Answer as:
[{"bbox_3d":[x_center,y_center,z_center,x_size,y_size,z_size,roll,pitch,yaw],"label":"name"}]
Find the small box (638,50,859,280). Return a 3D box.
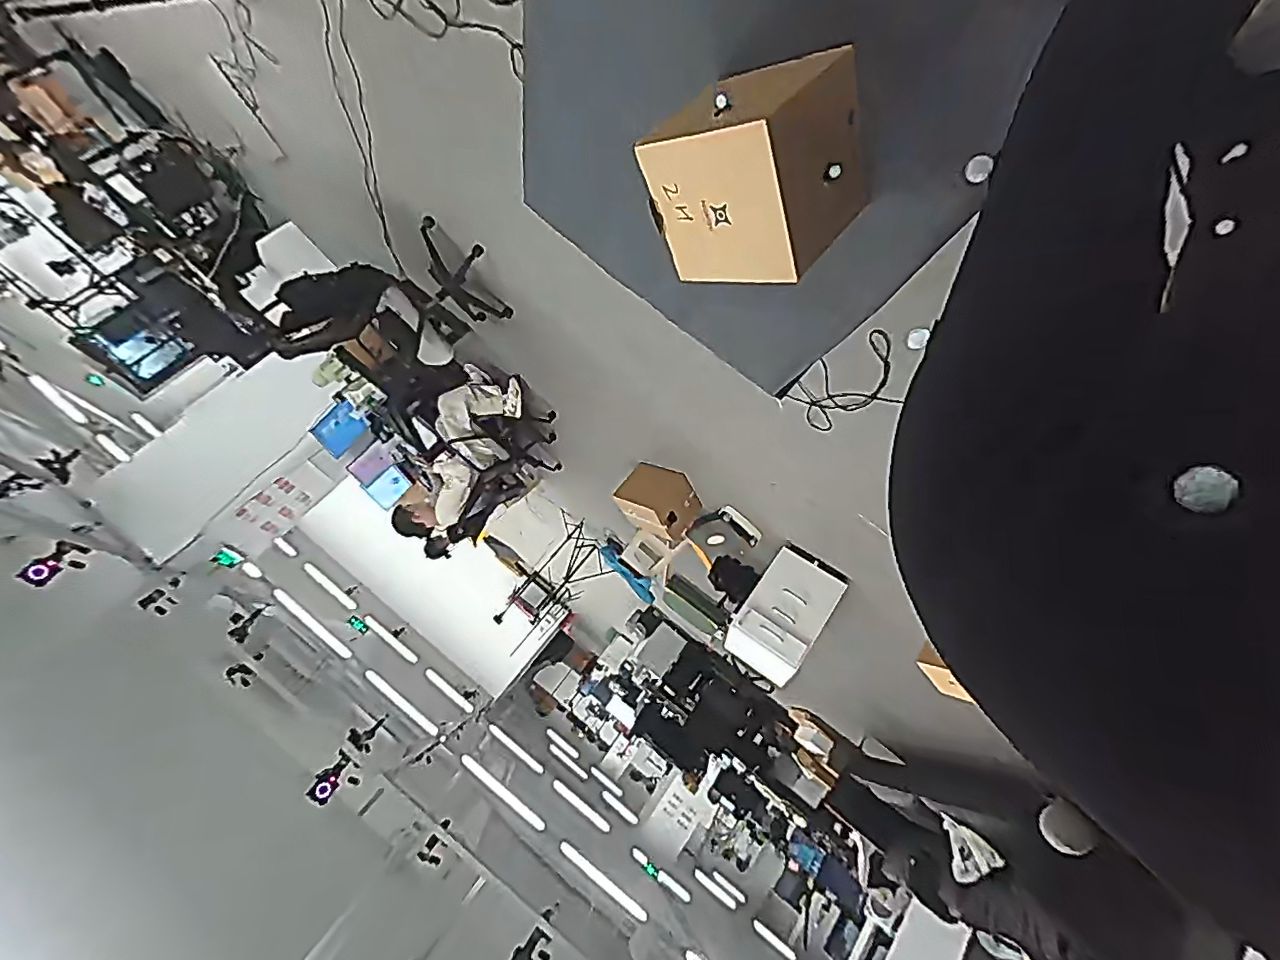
[{"bbox_3d":[0.135,-0.352,0.622,0.179,0.176,0.168,21,151,41],"label":"small box"}]
